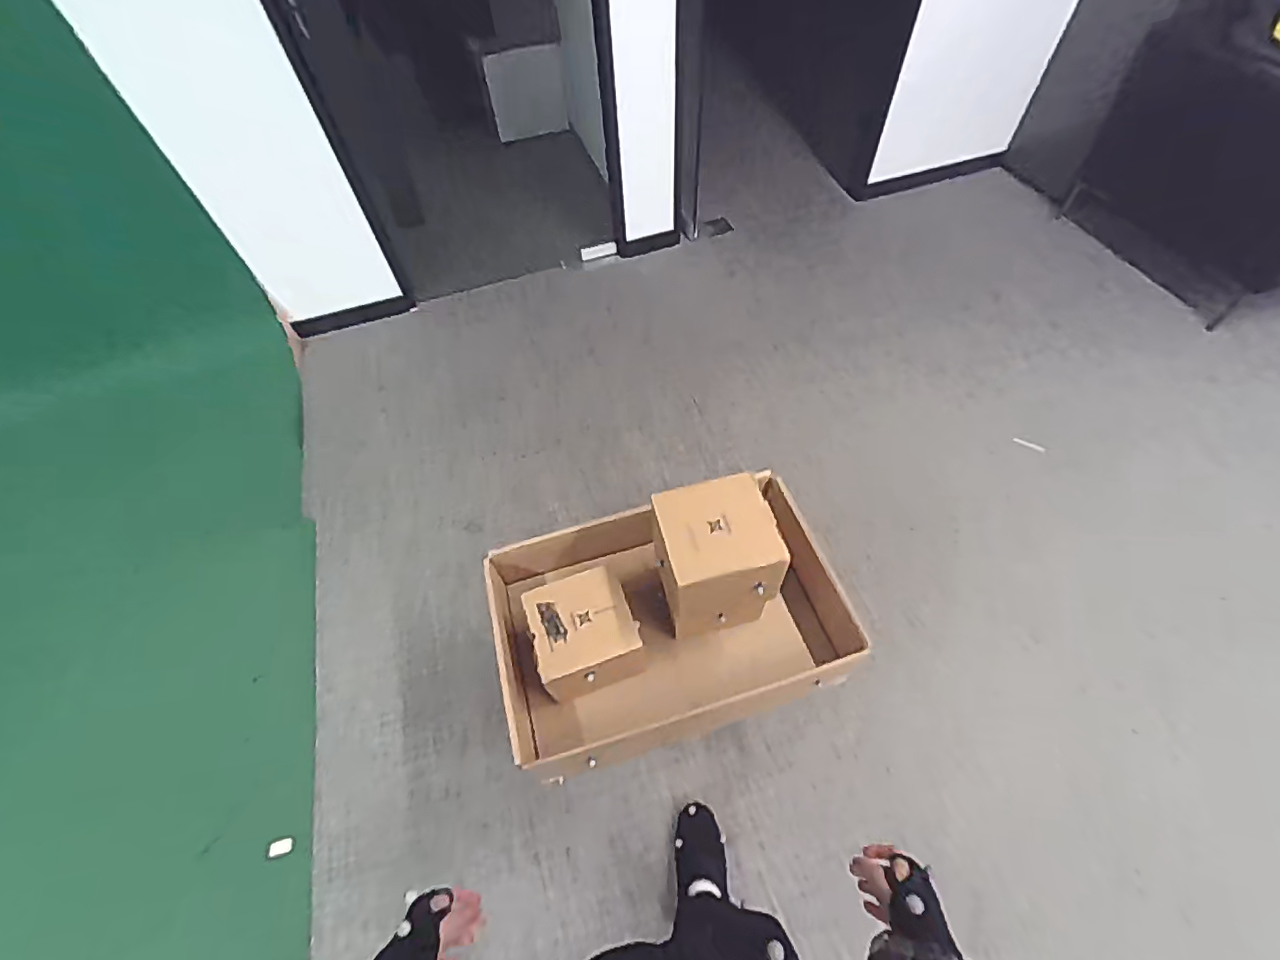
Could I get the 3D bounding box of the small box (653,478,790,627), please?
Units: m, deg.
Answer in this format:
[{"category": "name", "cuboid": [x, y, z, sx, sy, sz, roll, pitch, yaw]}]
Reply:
[{"category": "small box", "cuboid": [0.125, 0.123, 0.893, 0.179, 0.176, 0.168, -13, 56, -3]}]
